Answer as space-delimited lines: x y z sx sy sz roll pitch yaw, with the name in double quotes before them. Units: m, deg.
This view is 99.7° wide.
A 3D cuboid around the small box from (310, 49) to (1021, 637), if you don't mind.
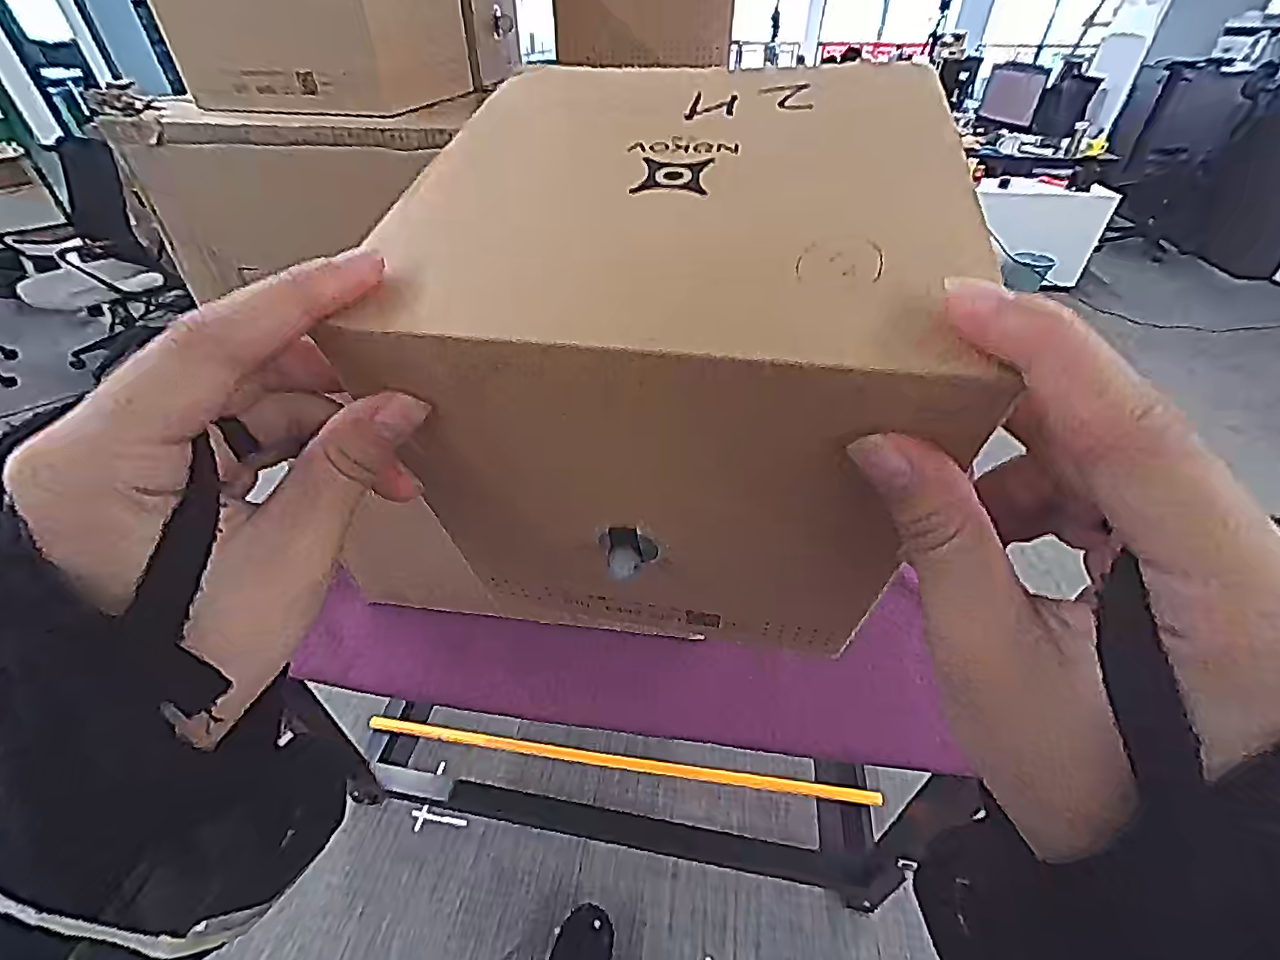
"small box" 0.018 -0.052 0.231 0.168 0.176 0.179 7 54 9
